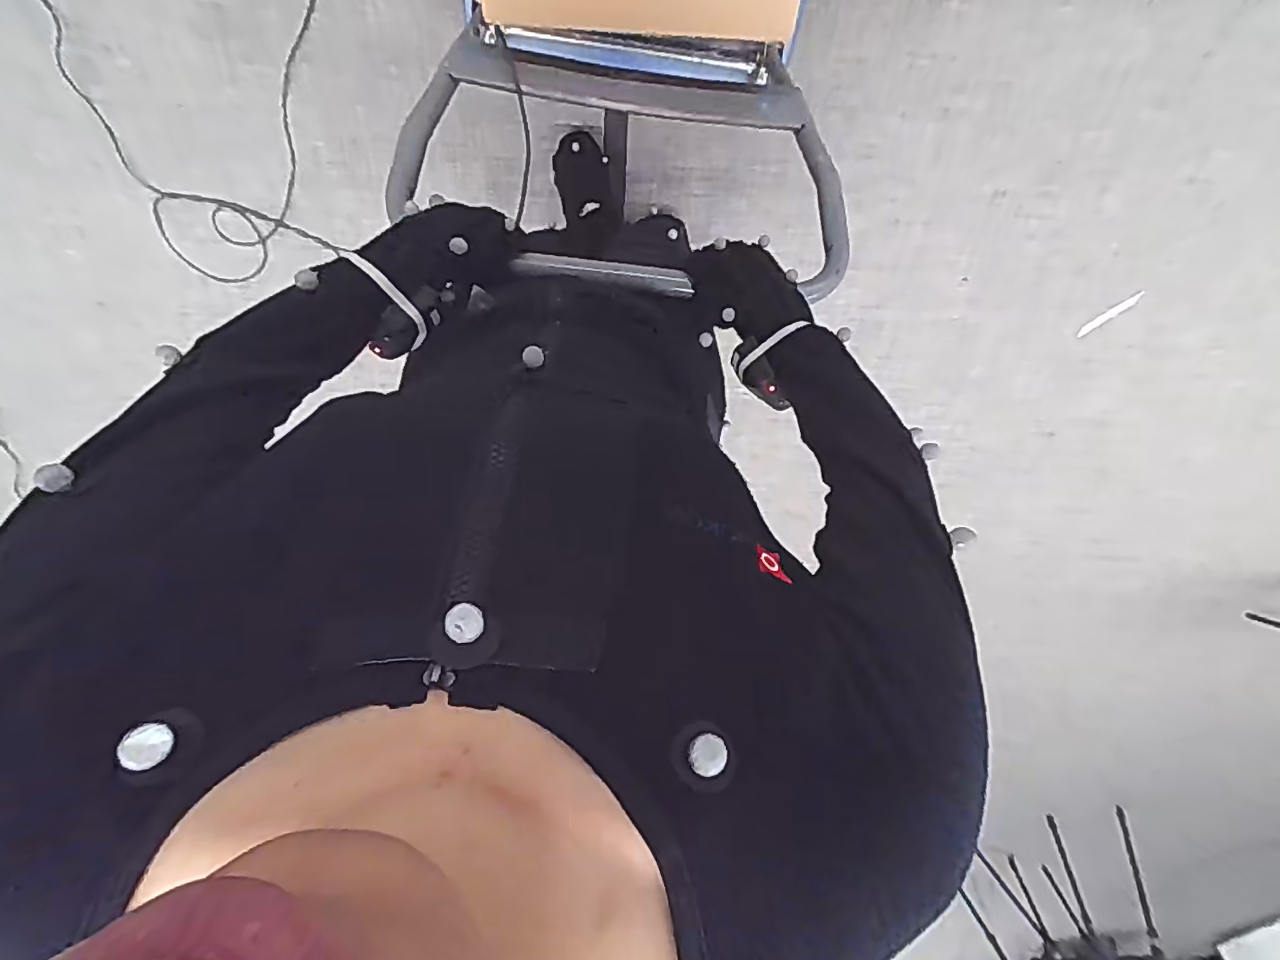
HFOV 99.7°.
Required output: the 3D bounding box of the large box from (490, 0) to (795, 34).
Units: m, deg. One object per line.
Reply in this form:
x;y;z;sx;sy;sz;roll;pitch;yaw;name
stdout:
0.002;-0.812;0.700;0.408;0.320;0.320;0;141;-3;large box
